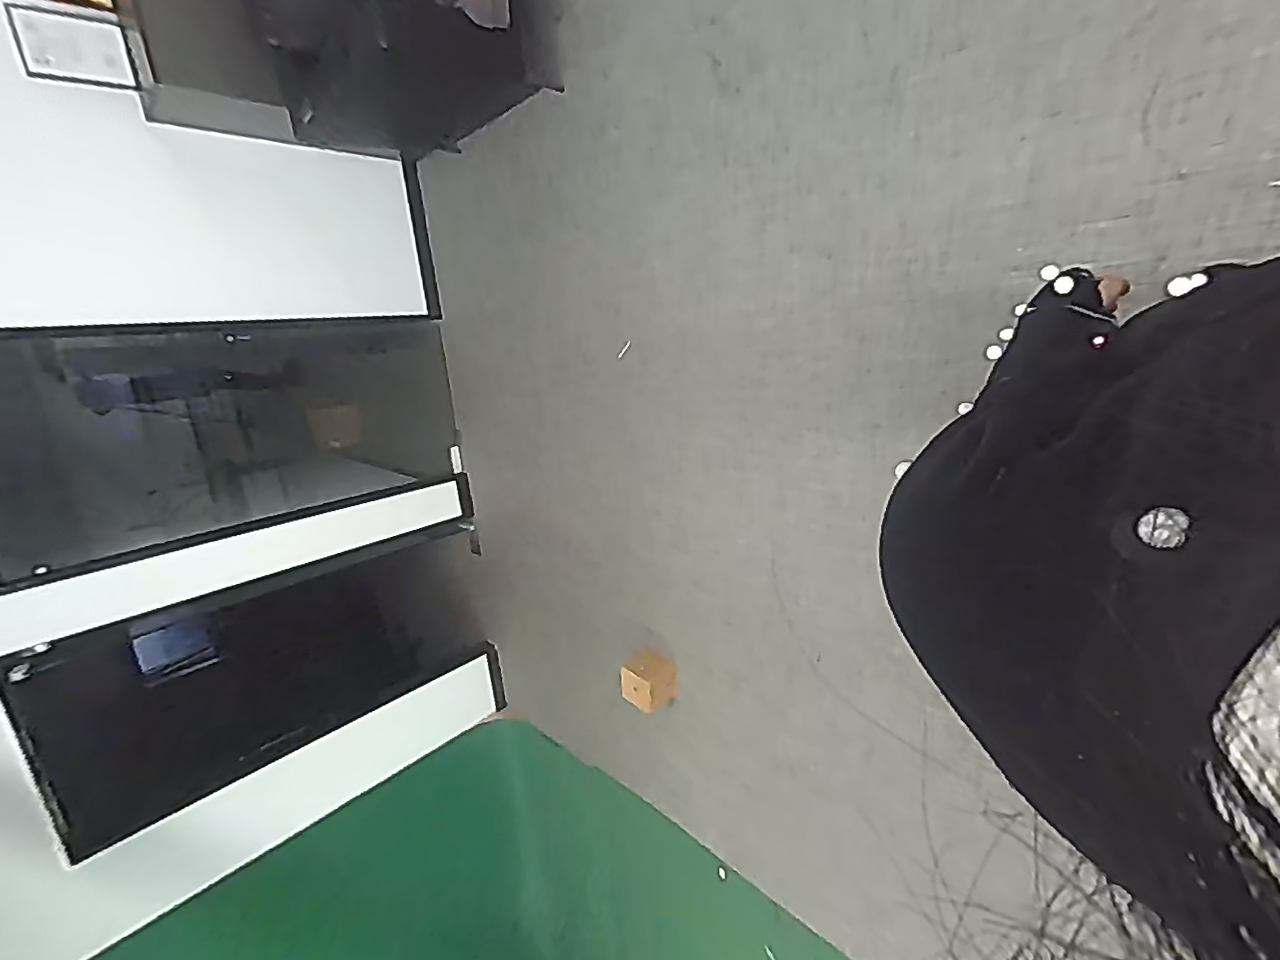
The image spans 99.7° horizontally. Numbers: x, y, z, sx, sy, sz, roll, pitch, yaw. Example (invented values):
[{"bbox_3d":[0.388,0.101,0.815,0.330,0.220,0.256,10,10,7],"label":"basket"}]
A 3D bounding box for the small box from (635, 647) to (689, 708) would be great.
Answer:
[{"bbox_3d":[0.100,0.871,2.415,0.179,0.176,0.168,13,115,42],"label":"small box"}]
